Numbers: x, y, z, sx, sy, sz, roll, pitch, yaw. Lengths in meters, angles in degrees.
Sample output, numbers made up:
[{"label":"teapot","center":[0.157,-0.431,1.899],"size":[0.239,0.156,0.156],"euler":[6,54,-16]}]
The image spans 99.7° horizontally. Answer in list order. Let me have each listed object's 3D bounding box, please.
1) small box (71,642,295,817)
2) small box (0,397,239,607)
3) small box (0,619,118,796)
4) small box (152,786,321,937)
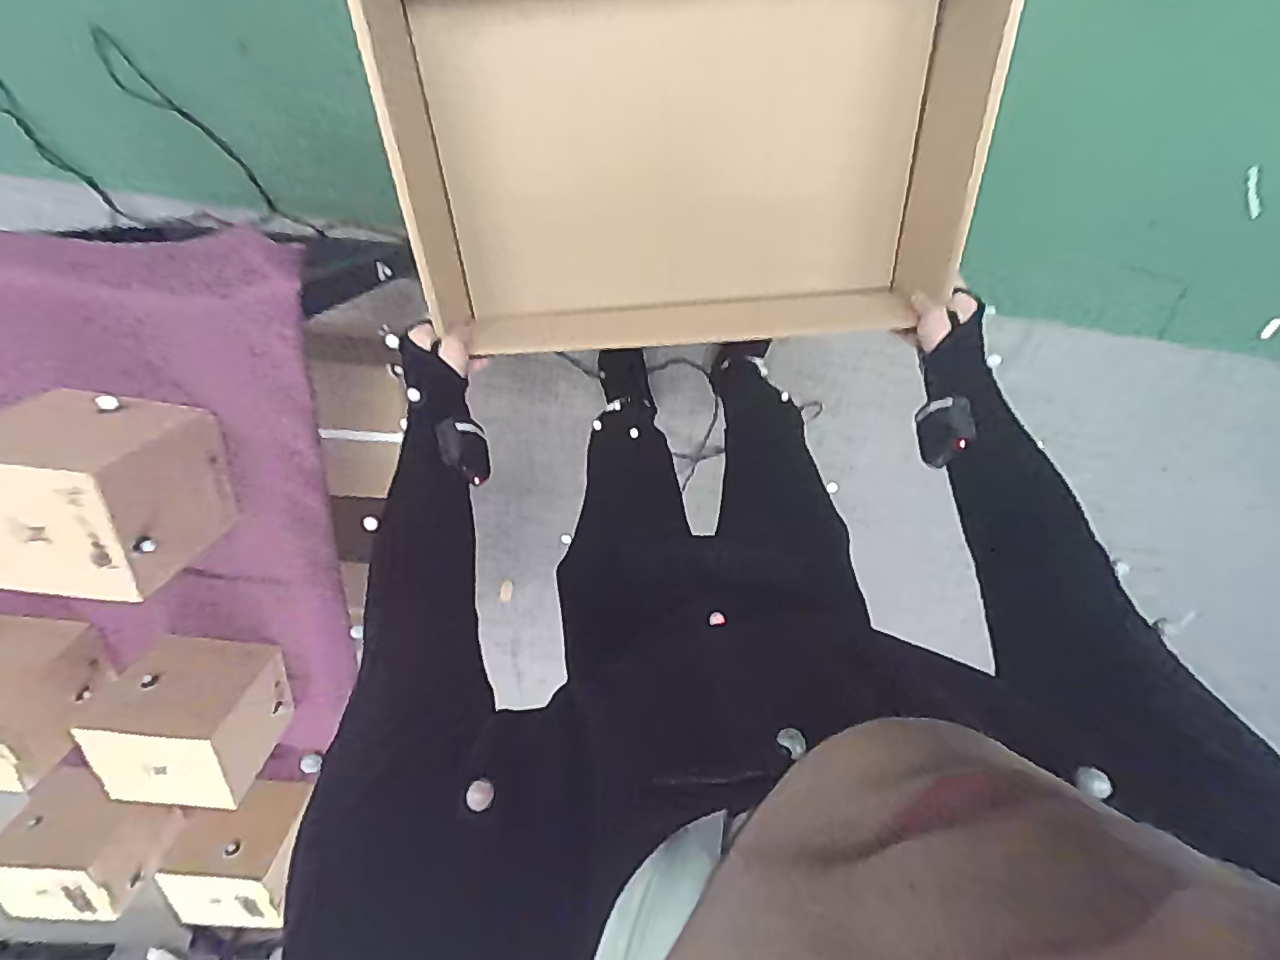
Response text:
[{"label":"small box","center":[-0.661,0.365,0.809],"size":[0.179,0.176,0.168],"euler":[8,119,-4]},{"label":"small box","center":[-0.614,0.016,0.618],"size":[0.179,0.176,0.168],"euler":[9,119,-3]},{"label":"small box","center":[-0.932,0.322,0.785],"size":[0.179,0.176,0.168],"euler":[7,118,-6]},{"label":"small box","center":[-0.707,0.683,0.978],"size":[0.179,0.176,0.168],"euler":[6,118,-2]}]
